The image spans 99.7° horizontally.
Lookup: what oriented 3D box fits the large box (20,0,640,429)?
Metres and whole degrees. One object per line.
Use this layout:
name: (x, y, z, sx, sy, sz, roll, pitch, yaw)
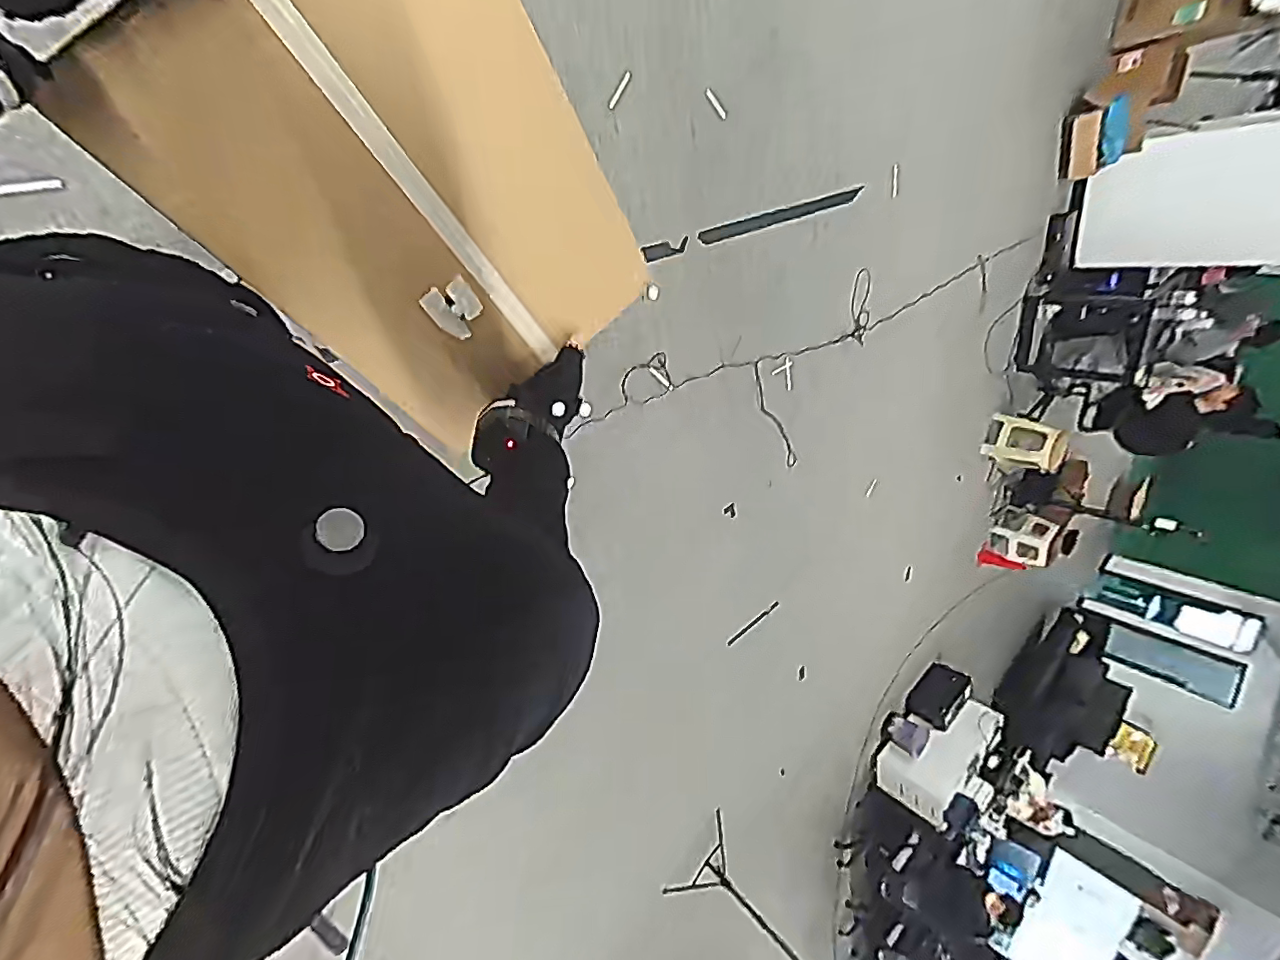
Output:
large box: (-0.273, -0.335, 0.577, 0.320, 0.320, 0.408, -42, 141, -2)
